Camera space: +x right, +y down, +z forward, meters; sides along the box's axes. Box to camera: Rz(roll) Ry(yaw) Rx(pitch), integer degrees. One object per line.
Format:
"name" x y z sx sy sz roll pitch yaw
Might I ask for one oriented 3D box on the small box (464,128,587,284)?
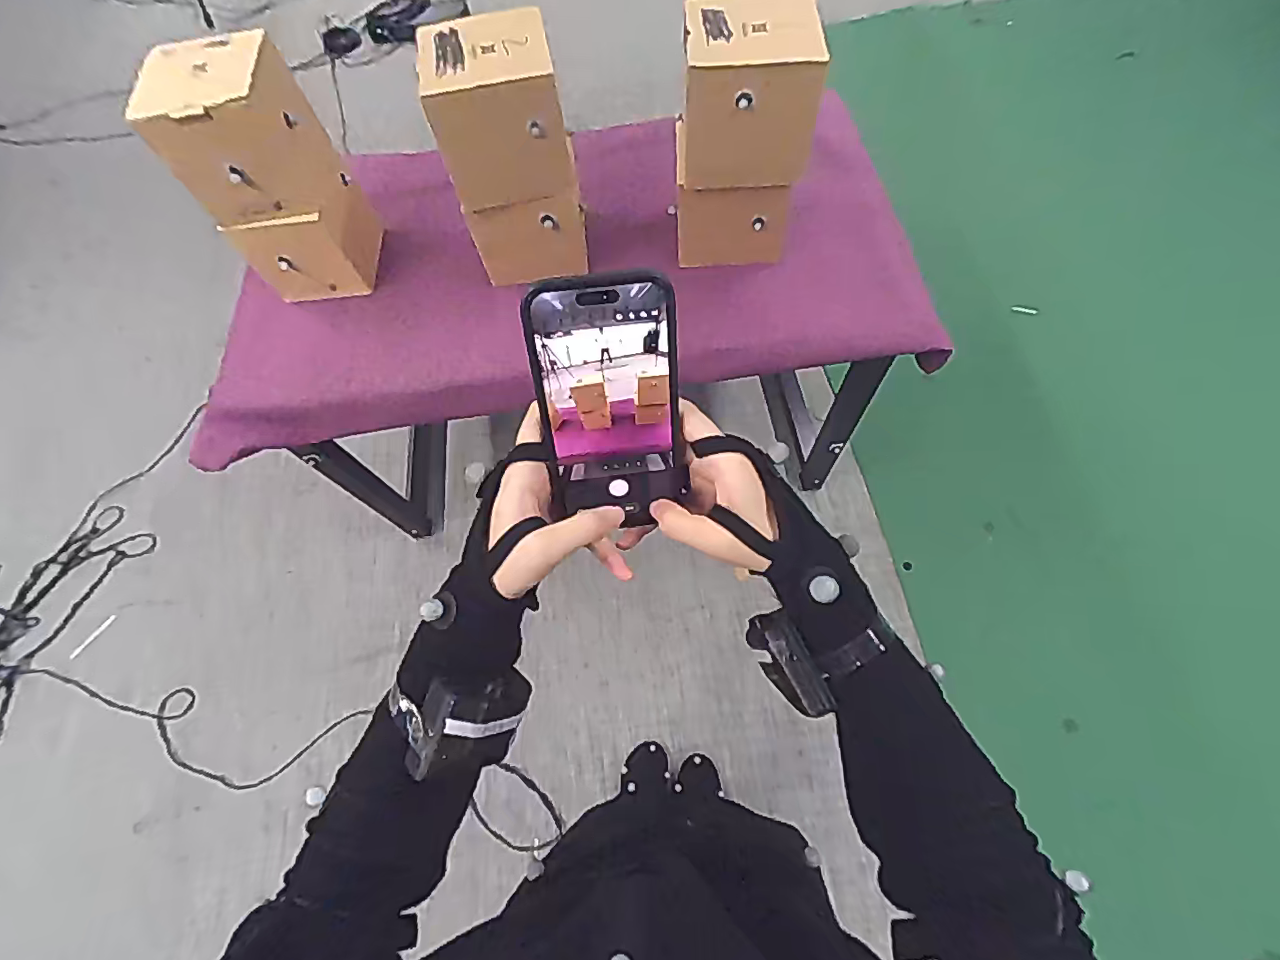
"small box" -0.188 -0.467 0.937 0.179 0.176 0.168 -6 65 2

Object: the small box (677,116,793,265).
"small box" 0.152 -0.490 0.923 0.179 0.176 0.168 -1 65 5

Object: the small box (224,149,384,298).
"small box" -0.578 -0.443 0.957 0.168 0.176 0.179 -6 65 2

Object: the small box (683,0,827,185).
"small box" 0.150 -0.545 0.768 0.179 0.176 0.168 -1 65 3

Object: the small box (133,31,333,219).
"small box" -0.590 -0.519 0.812 0.168 0.176 0.179 -10 66 -1
